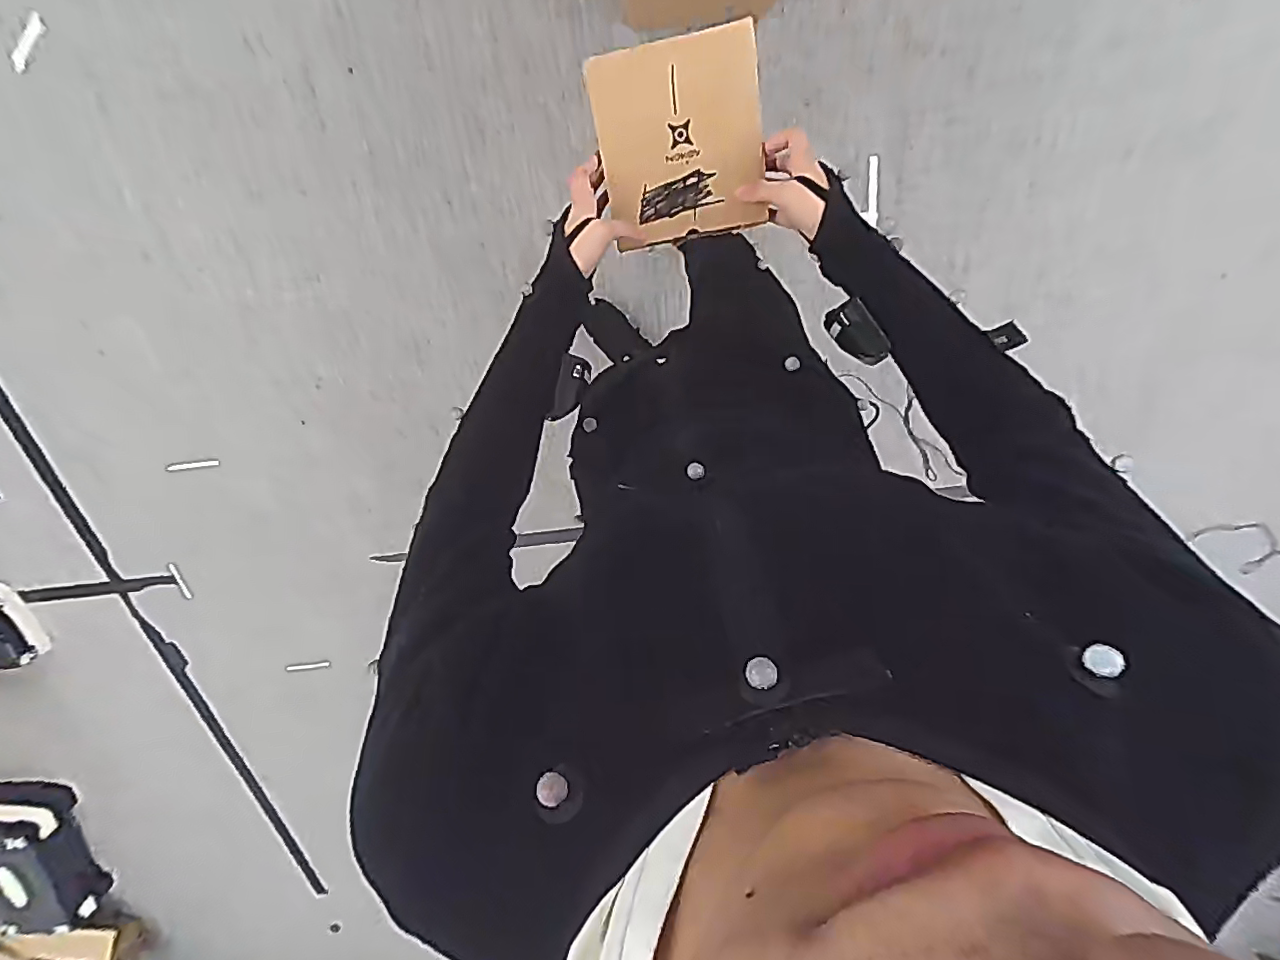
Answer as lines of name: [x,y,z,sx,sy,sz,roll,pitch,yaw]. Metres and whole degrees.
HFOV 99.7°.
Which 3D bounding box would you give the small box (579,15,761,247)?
small box: [0.038,-0.376,0.612,0.168,0.176,0.179,-9,115,5]
